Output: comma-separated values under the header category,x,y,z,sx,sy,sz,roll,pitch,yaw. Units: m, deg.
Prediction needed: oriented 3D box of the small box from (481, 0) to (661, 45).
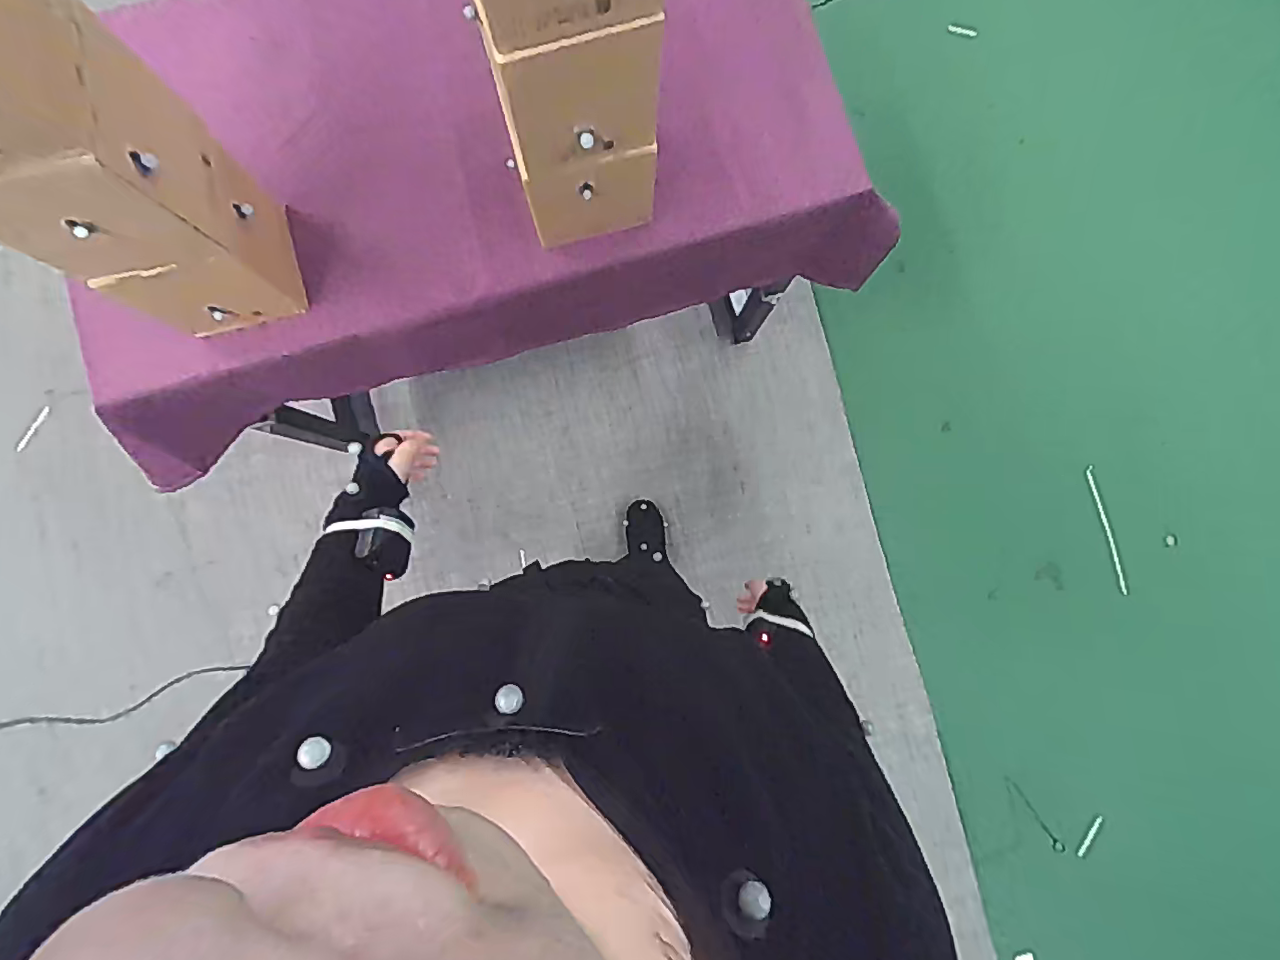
category,x,y,z,sx,sy,sz,roll,pitch,yaw
small box,-0.077,-0.503,0.423,0.168,0.176,0.179,-16,84,-2

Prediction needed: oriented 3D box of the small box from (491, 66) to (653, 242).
category,x,y,z,sx,sy,sz,roll,pitch,yaw
small box,-0.086,-0.458,0.749,0.179,0.176,0.168,-14,86,-3

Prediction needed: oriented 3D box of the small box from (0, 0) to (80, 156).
category,x,y,z,sx,sy,sz,roll,pitch,yaw
small box,-0.576,-0.362,0.396,0.168,0.176,0.179,-14,85,-4

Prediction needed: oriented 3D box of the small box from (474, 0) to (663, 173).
category,x,y,z,sx,sy,sz,roll,pitch,yaw
small box,-0.083,-0.480,0.586,0.168,0.176,0.179,-17,86,-3

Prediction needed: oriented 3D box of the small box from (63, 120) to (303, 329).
category,x,y,z,sx,sy,sz,roll,pitch,yaw
small box,-0.590,-0.328,0.722,0.168,0.176,0.179,-15,86,-4
